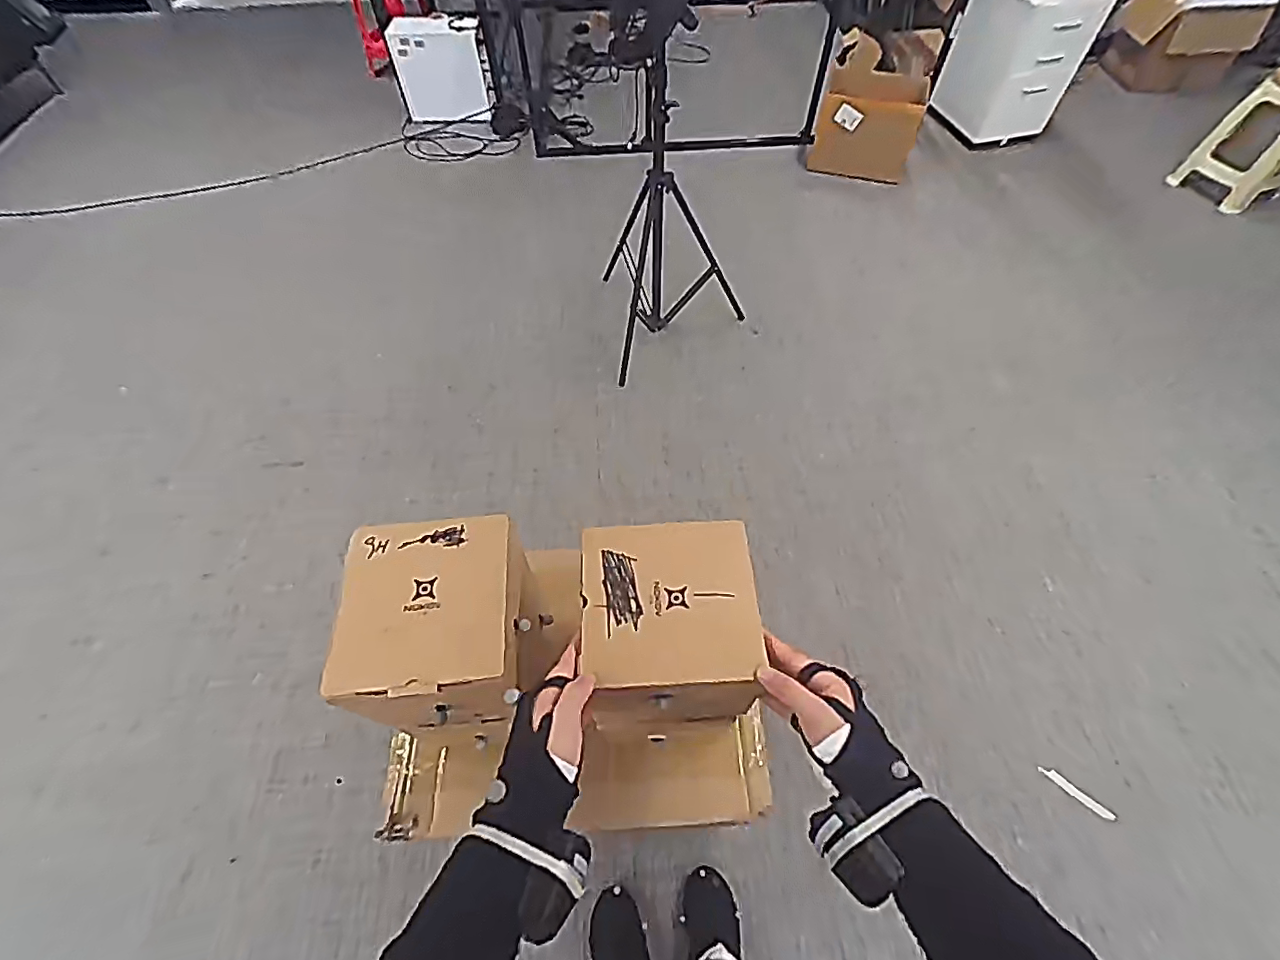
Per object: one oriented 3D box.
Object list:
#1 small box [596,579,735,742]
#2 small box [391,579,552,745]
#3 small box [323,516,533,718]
[{"bbox_3d":[0.030,0.251,0.742,0.168,0.176,0.179,-4,59,1],"label":"small box"},{"bbox_3d":[-0.215,0.252,0.741,0.168,0.176,0.179,-3,57,-3],"label":"small box"},{"bbox_3d":[-0.215,0.161,0.604,0.168,0.176,0.179,-5,58,-3],"label":"small box"}]
